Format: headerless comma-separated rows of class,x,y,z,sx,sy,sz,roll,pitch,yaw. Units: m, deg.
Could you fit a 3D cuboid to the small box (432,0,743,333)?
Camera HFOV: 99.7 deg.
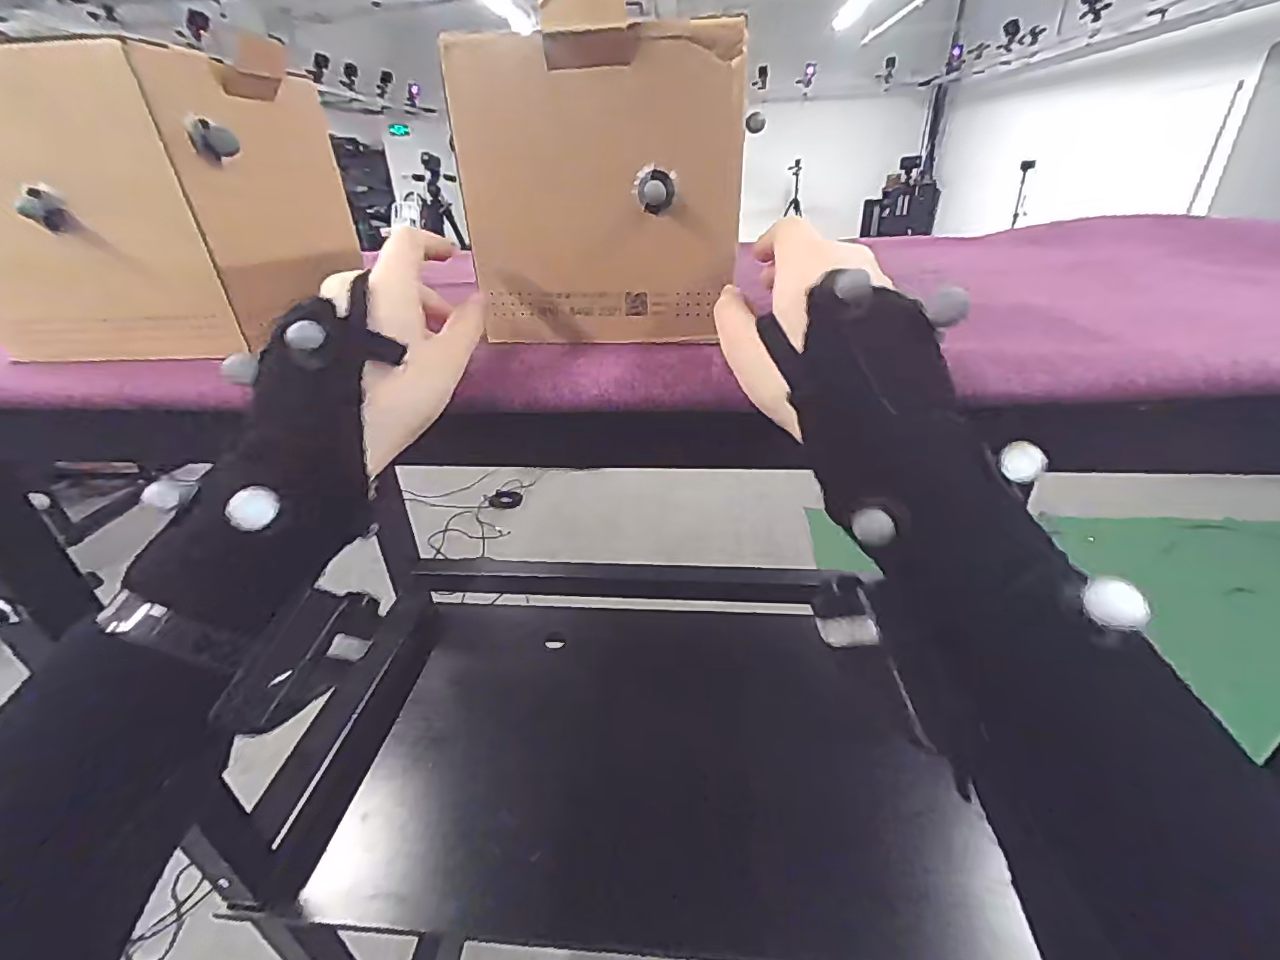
small box,-0.015,-0.206,0.381,0.168,0.176,0.179,3,29,7
